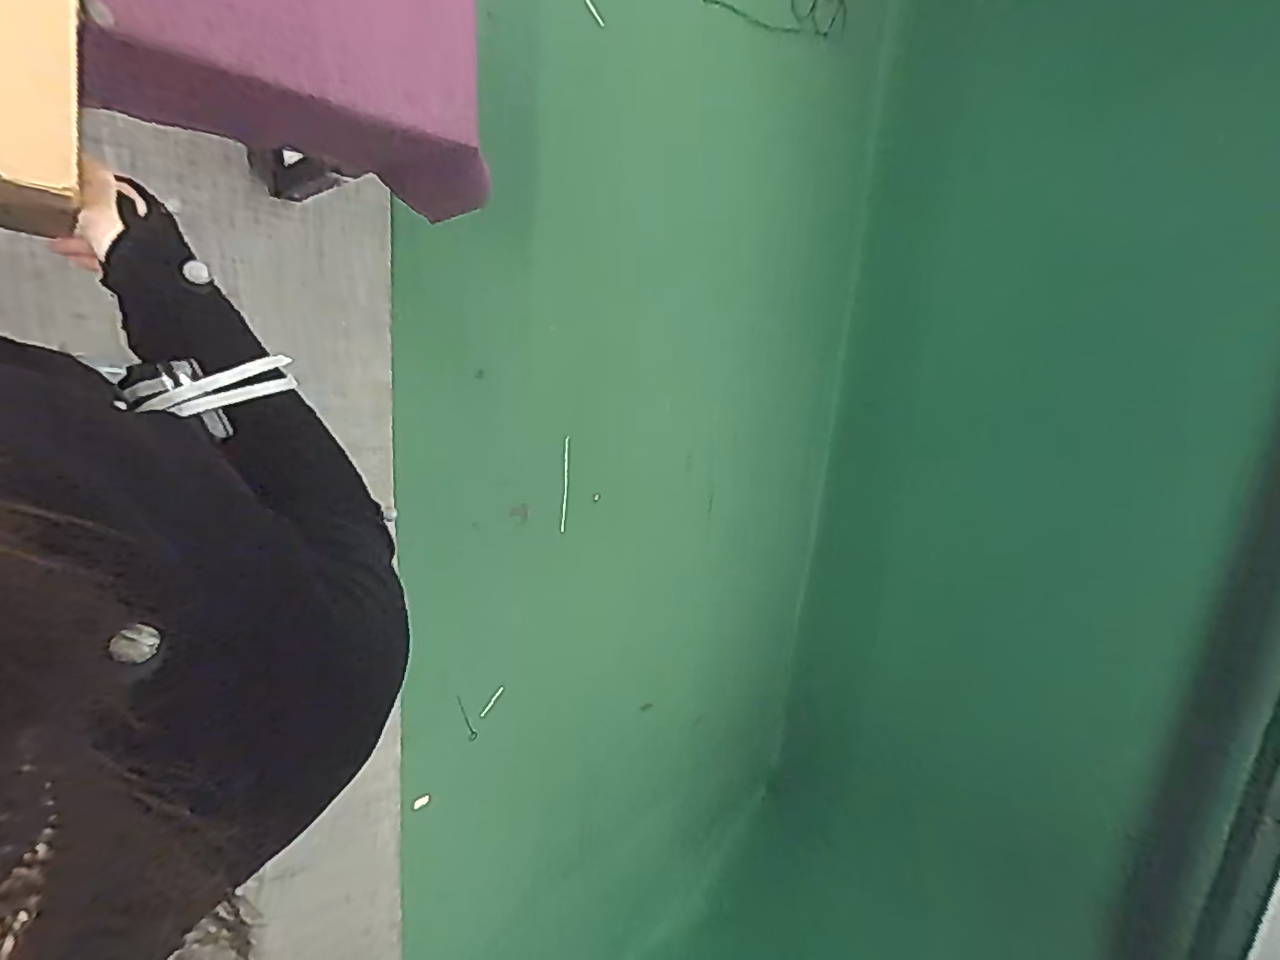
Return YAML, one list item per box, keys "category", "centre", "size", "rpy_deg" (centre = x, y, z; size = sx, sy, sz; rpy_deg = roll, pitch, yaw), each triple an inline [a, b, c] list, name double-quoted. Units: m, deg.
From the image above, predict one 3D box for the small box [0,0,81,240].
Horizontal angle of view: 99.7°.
- category: "small box"
  centre: [-0.446, -0.264, 0.314]
  size: [0.168, 0.176, 0.179]
  rpy_deg: [-1, 98, -46]
